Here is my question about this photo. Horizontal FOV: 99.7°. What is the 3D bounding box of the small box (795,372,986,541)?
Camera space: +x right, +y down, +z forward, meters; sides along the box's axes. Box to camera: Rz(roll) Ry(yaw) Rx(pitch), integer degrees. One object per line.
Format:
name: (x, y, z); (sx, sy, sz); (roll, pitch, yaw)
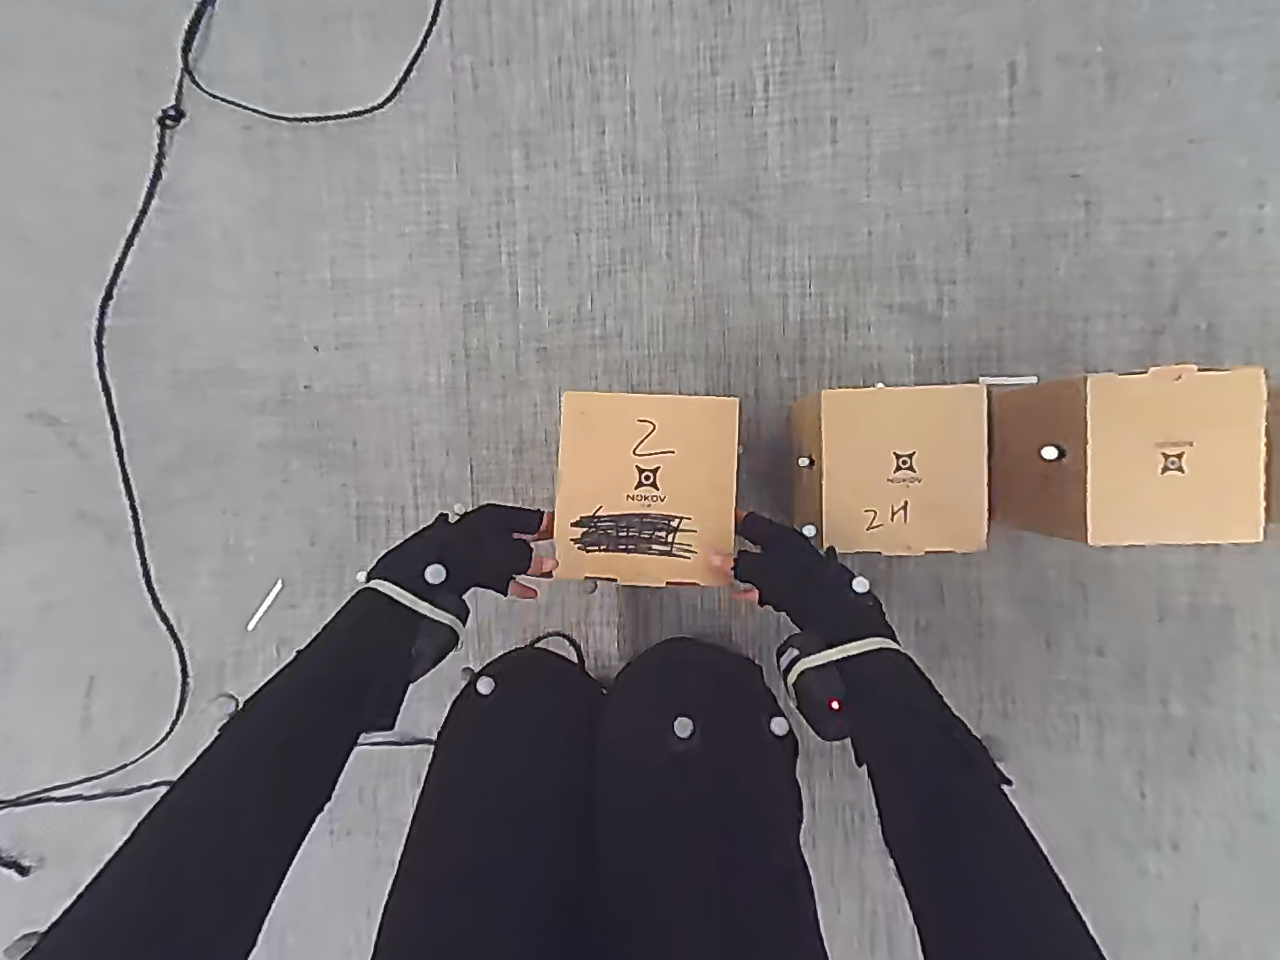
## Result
small box: (0.282, -0.024, 0.643); (0.168, 0.176, 0.179); (-2, 92, 7)

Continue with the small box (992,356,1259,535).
small box: (0.535, -0.037, 0.622); (0.168, 0.176, 0.179); (-3, 91, 5)
